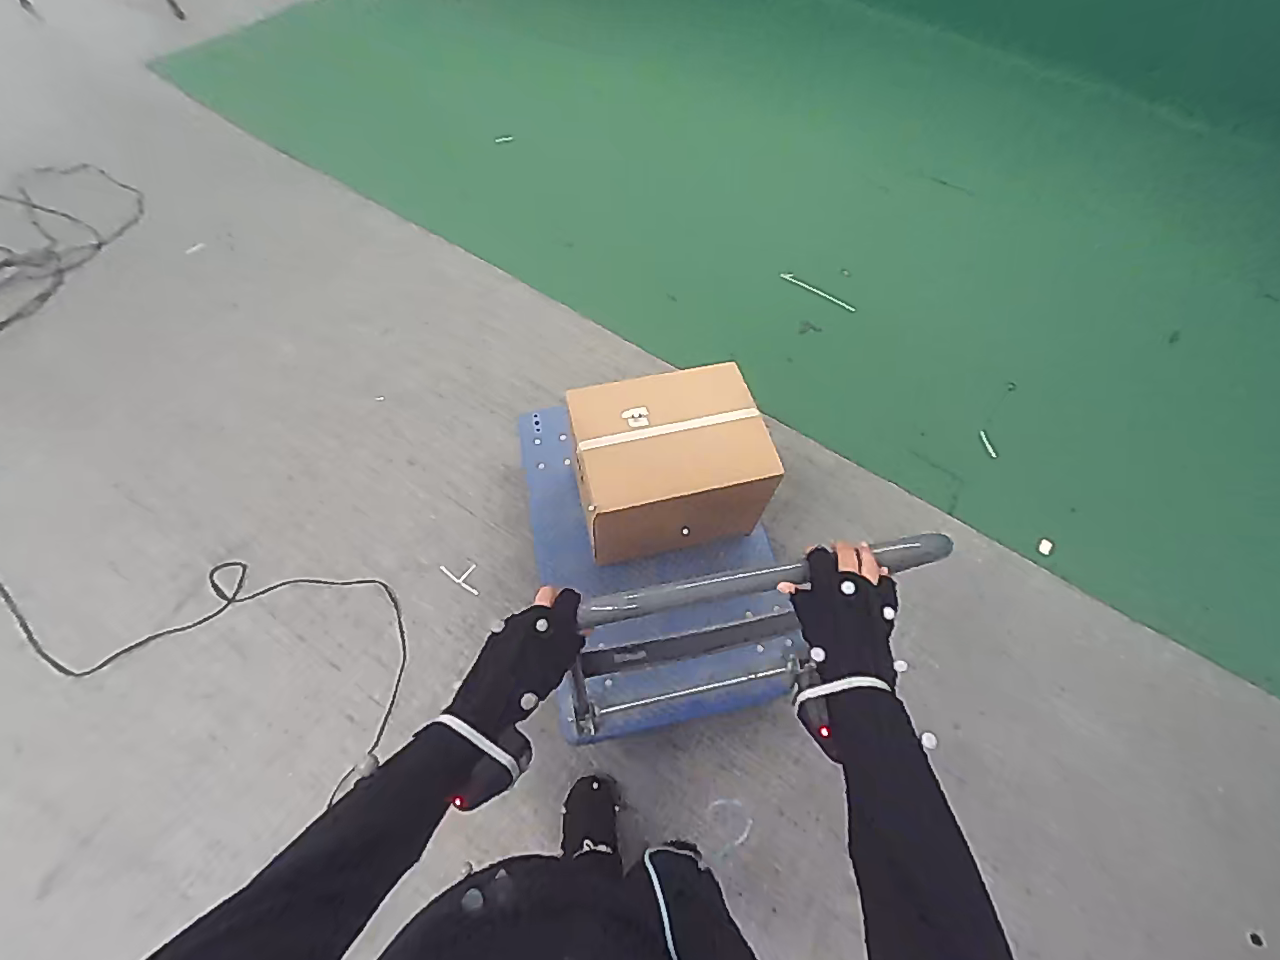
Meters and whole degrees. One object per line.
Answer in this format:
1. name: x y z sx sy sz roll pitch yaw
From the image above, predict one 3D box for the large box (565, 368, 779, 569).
1. large box: 0.059 -0.020 1.288 0.408 0.320 0.320 -12 61 -8
